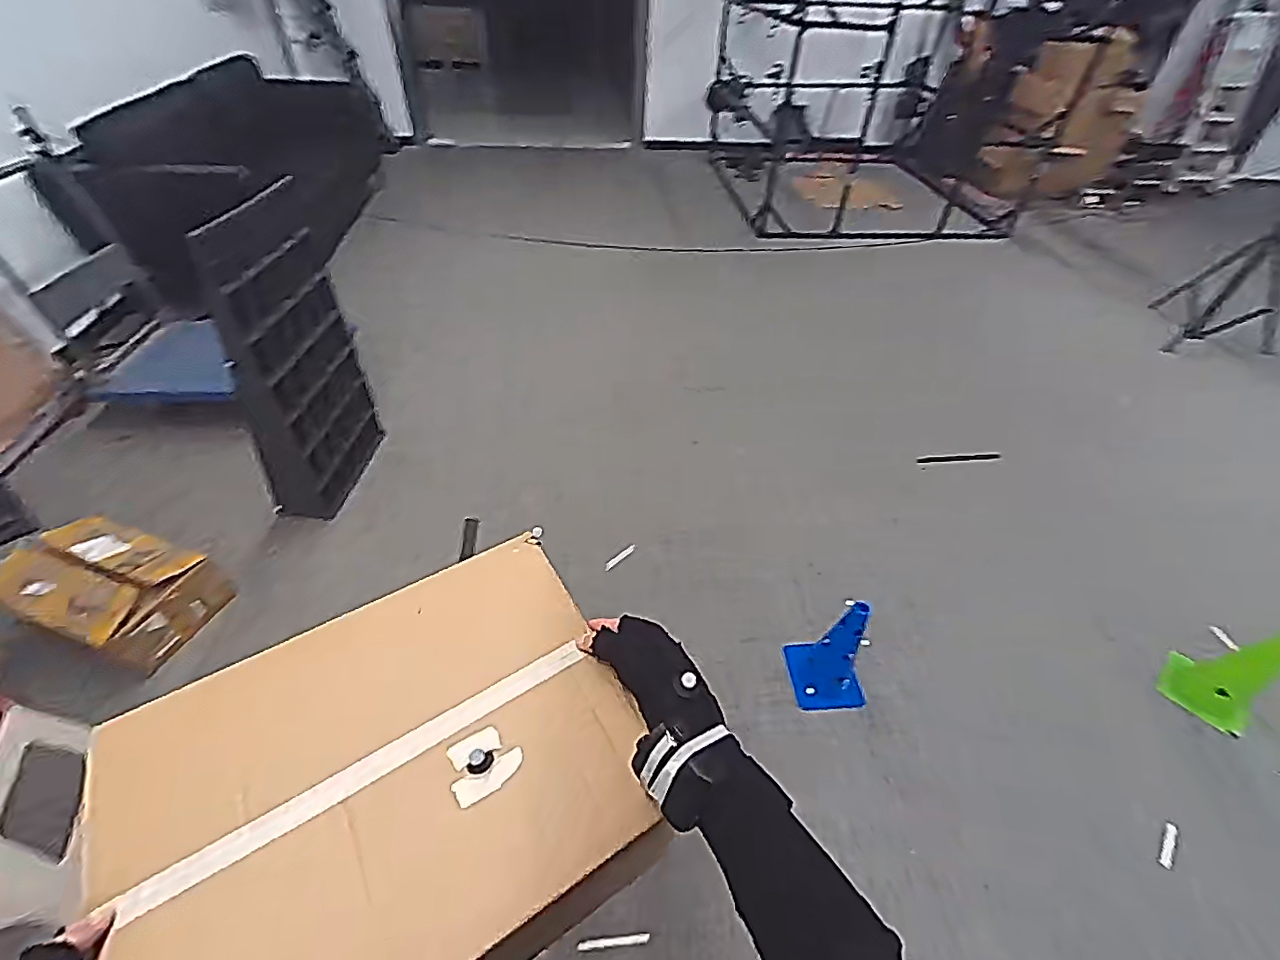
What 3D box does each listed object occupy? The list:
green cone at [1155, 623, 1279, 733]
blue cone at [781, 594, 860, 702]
[{"bbox_3d":[1.663,0.492,1.482,0.200,0.368,0.202,-32,53,-32],"label":"green cone"},{"bbox_3d":[0.533,0.444,1.484,0.193,0.380,0.192,0,43,-4],"label":"blue cone"}]
